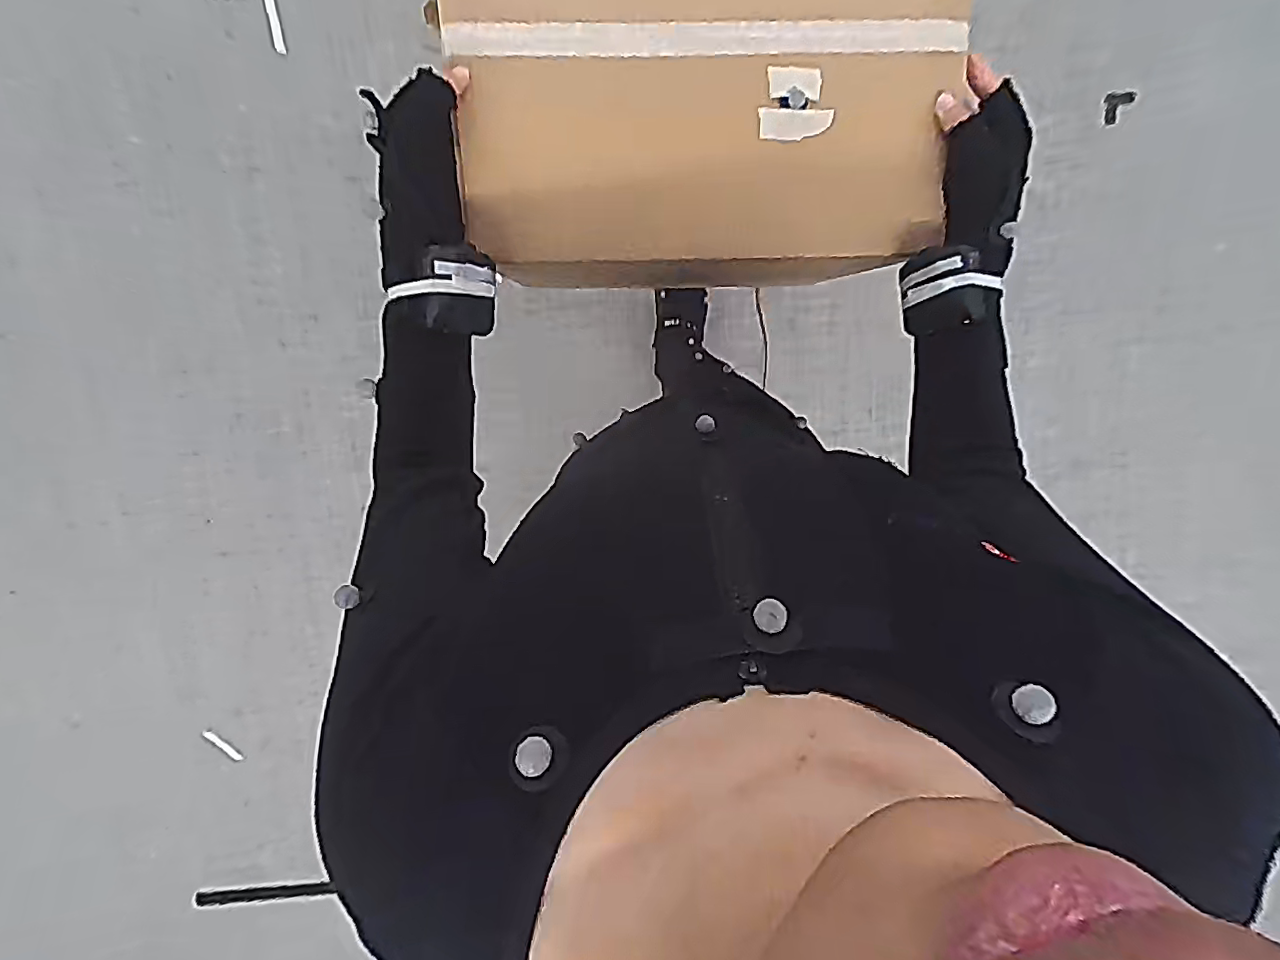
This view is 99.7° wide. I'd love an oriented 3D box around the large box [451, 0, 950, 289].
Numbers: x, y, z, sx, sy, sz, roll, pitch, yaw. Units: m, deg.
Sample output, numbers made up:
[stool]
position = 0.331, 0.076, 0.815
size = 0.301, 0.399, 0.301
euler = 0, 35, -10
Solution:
[large box]
position = 0.042, -0.388, 0.579
size = 0.408, 0.320, 0.320
euler = -3, 106, -3
